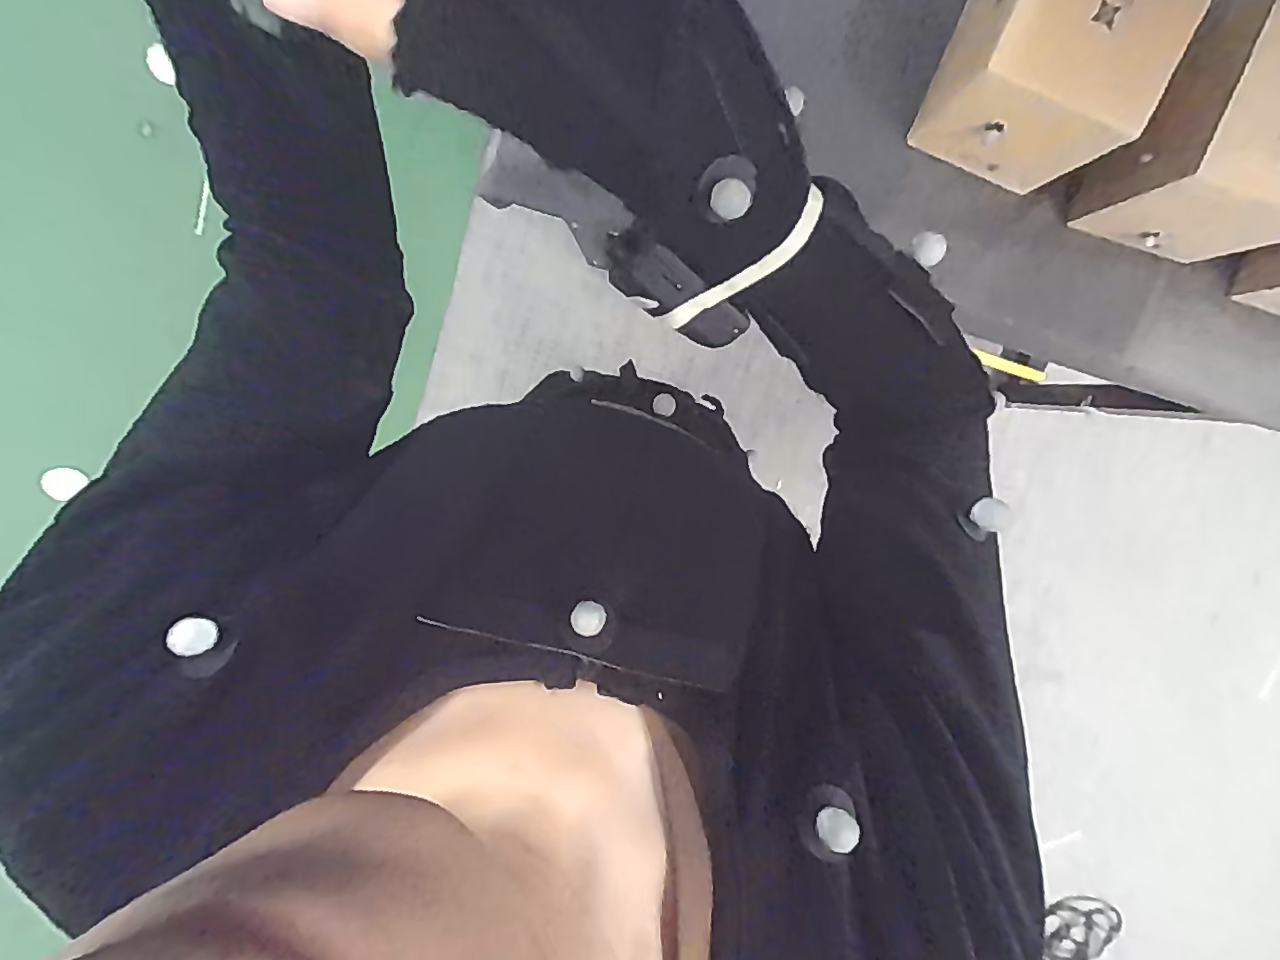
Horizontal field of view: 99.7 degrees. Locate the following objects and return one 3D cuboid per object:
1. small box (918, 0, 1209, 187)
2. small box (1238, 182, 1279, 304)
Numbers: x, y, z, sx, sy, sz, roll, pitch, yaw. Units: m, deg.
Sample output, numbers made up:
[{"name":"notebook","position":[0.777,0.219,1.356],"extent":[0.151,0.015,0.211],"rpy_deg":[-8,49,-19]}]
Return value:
[{"name":"small box","position":[0.435,-0.452,0.580],"extent":[0.168,0.176,0.179],"rpy_deg":[22,99,-3]},{"name":"small box","position":[0.849,-0.282,0.601],"extent":[0.168,0.176,0.179],"rpy_deg":[16,99,-2]}]
